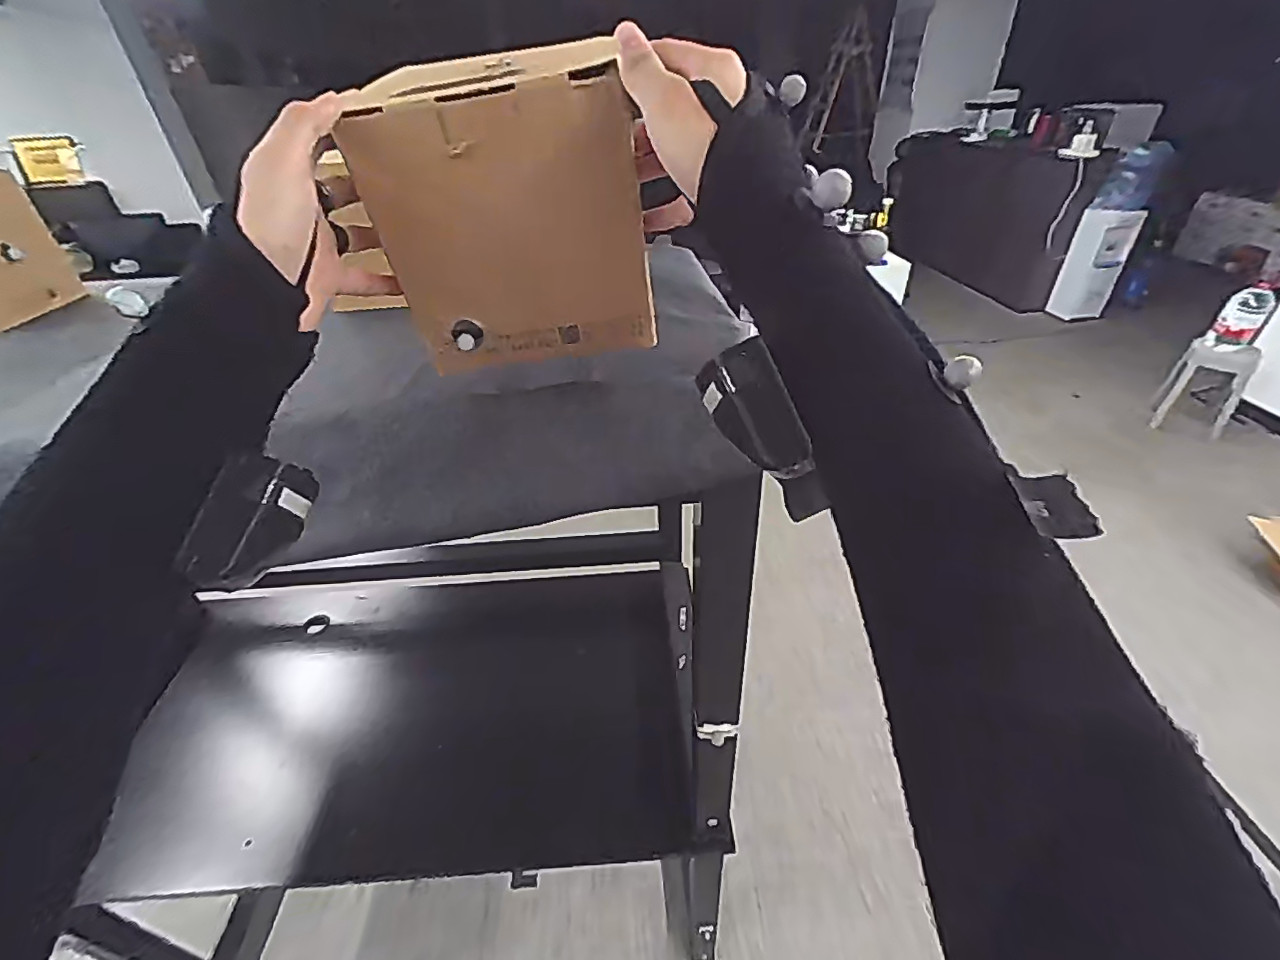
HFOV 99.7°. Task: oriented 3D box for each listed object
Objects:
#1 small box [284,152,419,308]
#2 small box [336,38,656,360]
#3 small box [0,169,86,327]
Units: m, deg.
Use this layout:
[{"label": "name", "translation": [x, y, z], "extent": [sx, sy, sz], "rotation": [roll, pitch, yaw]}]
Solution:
[{"label": "small box", "translation": [-0.314, -0.331, 0.710], "extent": [0.168, 0.176, 0.179], "rotation": [-5, 36, -2]}, {"label": "small box", "translation": [-0.081, -0.202, 0.405], "extent": [0.168, 0.176, 0.179], "rotation": [-7, 44, 2]}, {"label": "small box", "translation": [-0.889, -0.285, 0.685], "extent": [0.179, 0.176, 0.168], "rotation": [-4, 36, -4]}]
